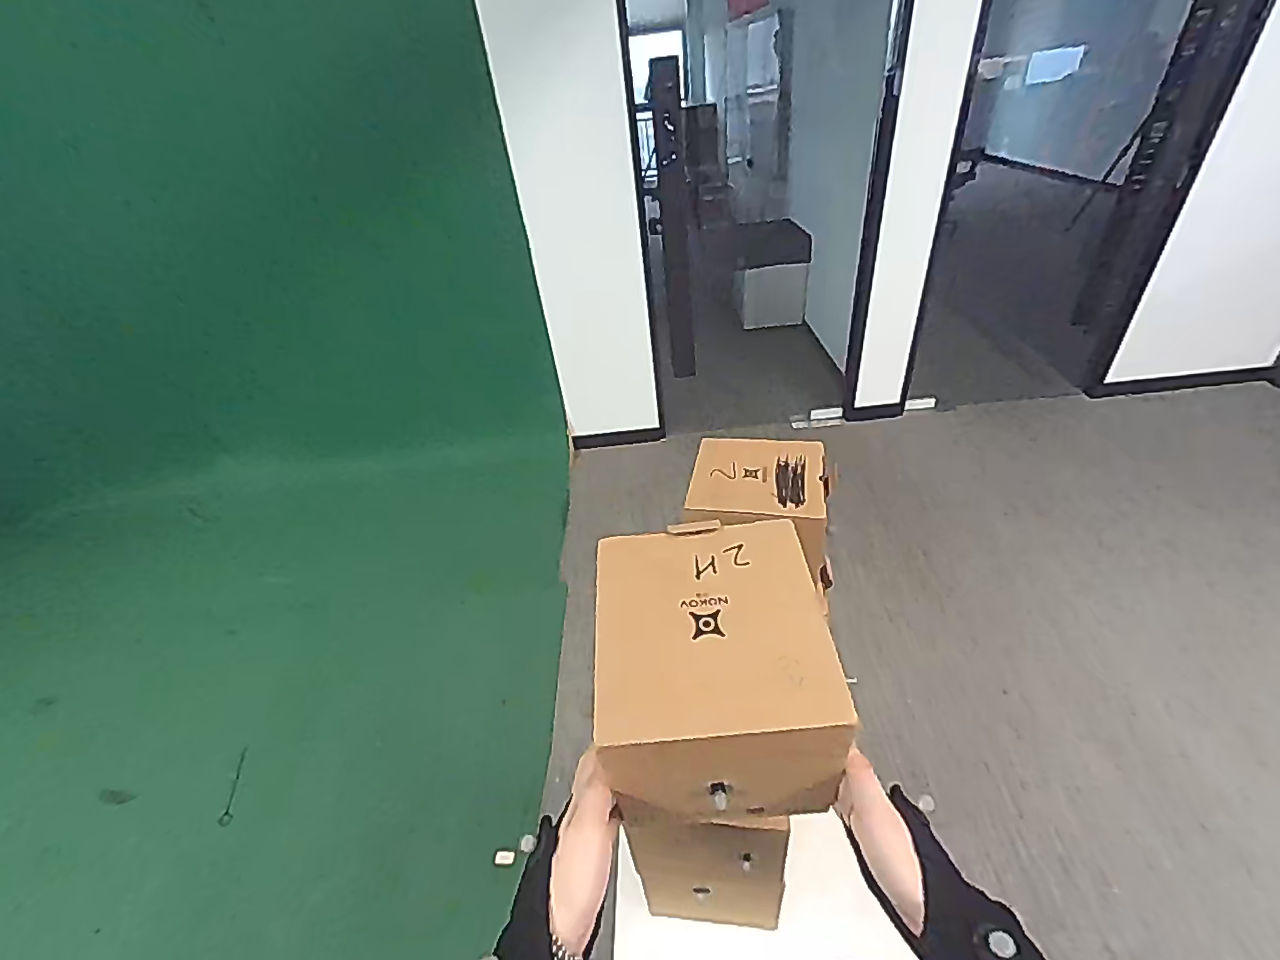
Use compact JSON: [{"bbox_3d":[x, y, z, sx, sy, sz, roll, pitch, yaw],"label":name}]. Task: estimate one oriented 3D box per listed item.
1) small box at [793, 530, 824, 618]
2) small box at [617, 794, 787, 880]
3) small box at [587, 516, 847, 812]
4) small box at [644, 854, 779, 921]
[{"bbox_3d":[0.187,0.195,0.861,0.179,0.176,0.168,1,38,10],"label":"small box"},{"bbox_3d":[0.079,0.360,0.661,0.179,0.176,0.168,-1,36,9],"label":"small box"},{"bbox_3d":[0.055,0.155,0.448,0.168,0.176,0.179,-6,41,3],"label":"small box"},{"bbox_3d":[0.098,0.487,0.760,0.179,0.176,0.168,1,37,9],"label":"small box"}]
